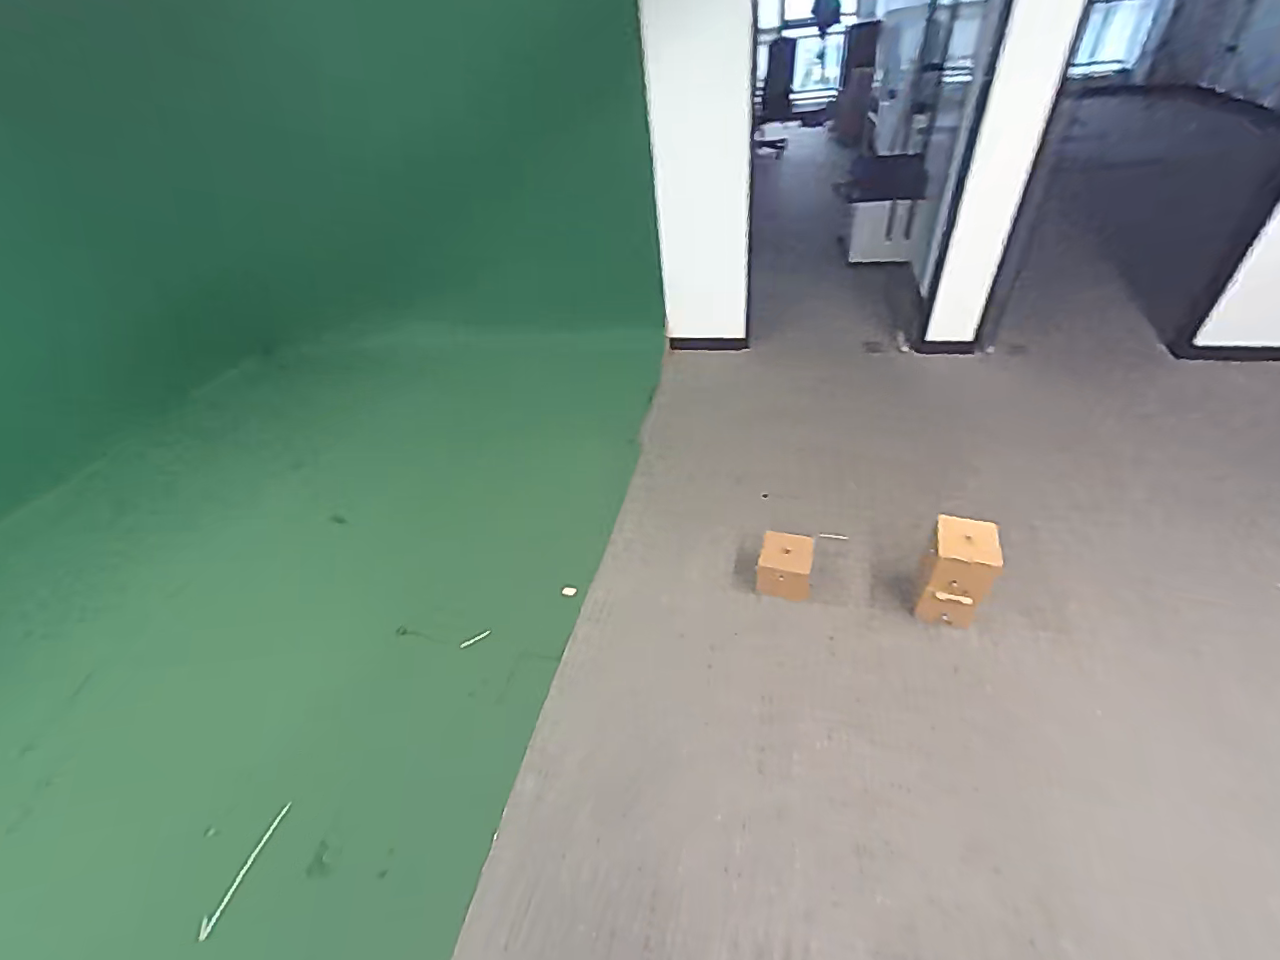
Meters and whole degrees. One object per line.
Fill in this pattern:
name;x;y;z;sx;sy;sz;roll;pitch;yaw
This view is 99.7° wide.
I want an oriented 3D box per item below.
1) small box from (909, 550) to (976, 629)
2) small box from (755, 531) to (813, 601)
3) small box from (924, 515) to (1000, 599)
small box;0.999;0.357;1.784;0.168;0.176;0.179;12;47;24
small box;0.509;0.307;1.922;0.179;0.176;0.168;9;45;18
small box;0.989;0.239;1.676;0.168;0.176;0.179;10;46;18
